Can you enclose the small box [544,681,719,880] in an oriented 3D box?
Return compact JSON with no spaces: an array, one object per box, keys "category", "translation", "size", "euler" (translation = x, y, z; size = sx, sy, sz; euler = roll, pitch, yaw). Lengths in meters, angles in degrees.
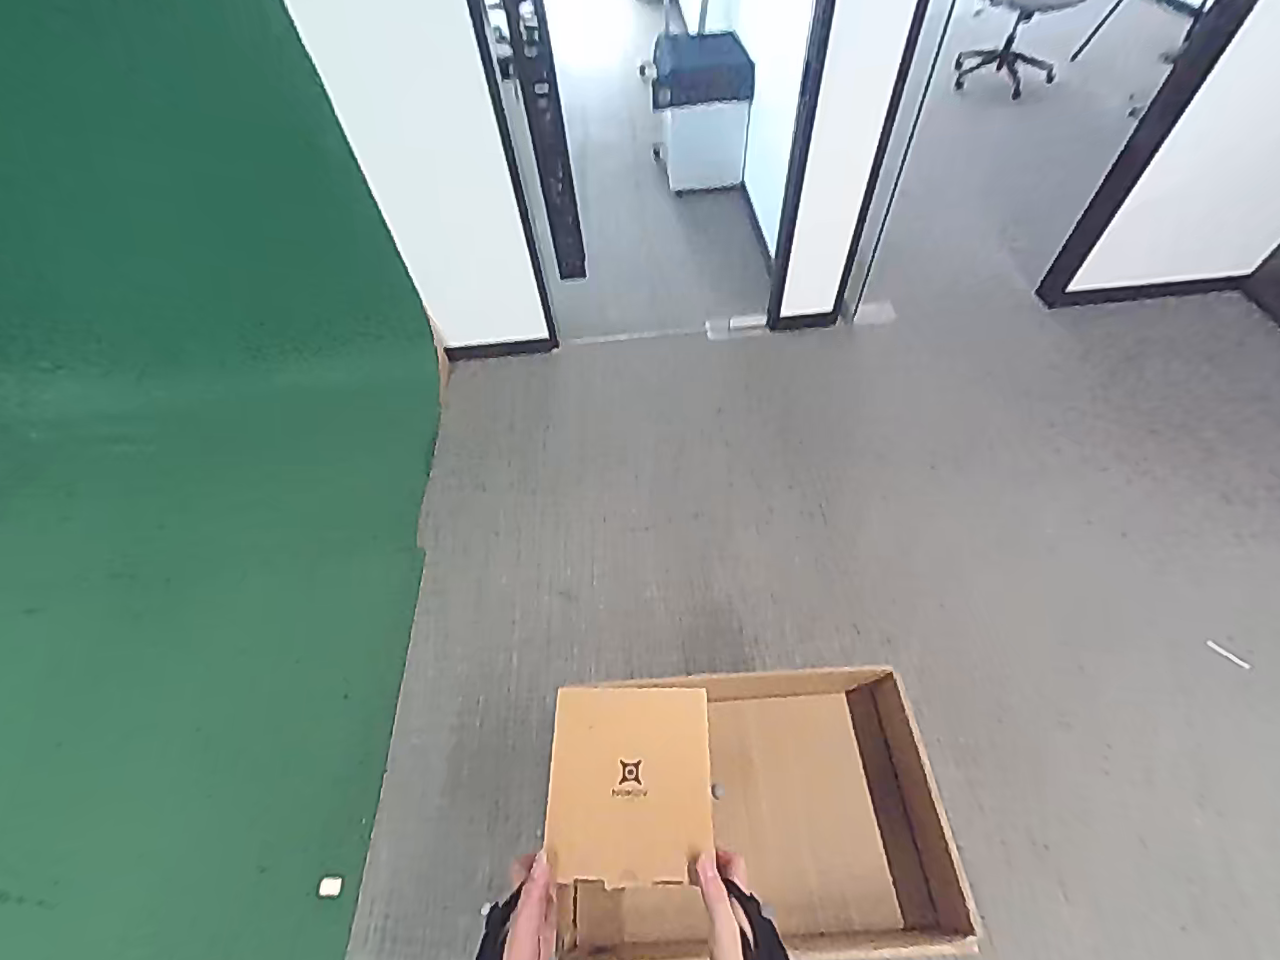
[{"category":"small box","translation":[-0.006,0.338,0.609],"size":[0.168,0.176,0.179],"euler":[-1,57,2]}]
